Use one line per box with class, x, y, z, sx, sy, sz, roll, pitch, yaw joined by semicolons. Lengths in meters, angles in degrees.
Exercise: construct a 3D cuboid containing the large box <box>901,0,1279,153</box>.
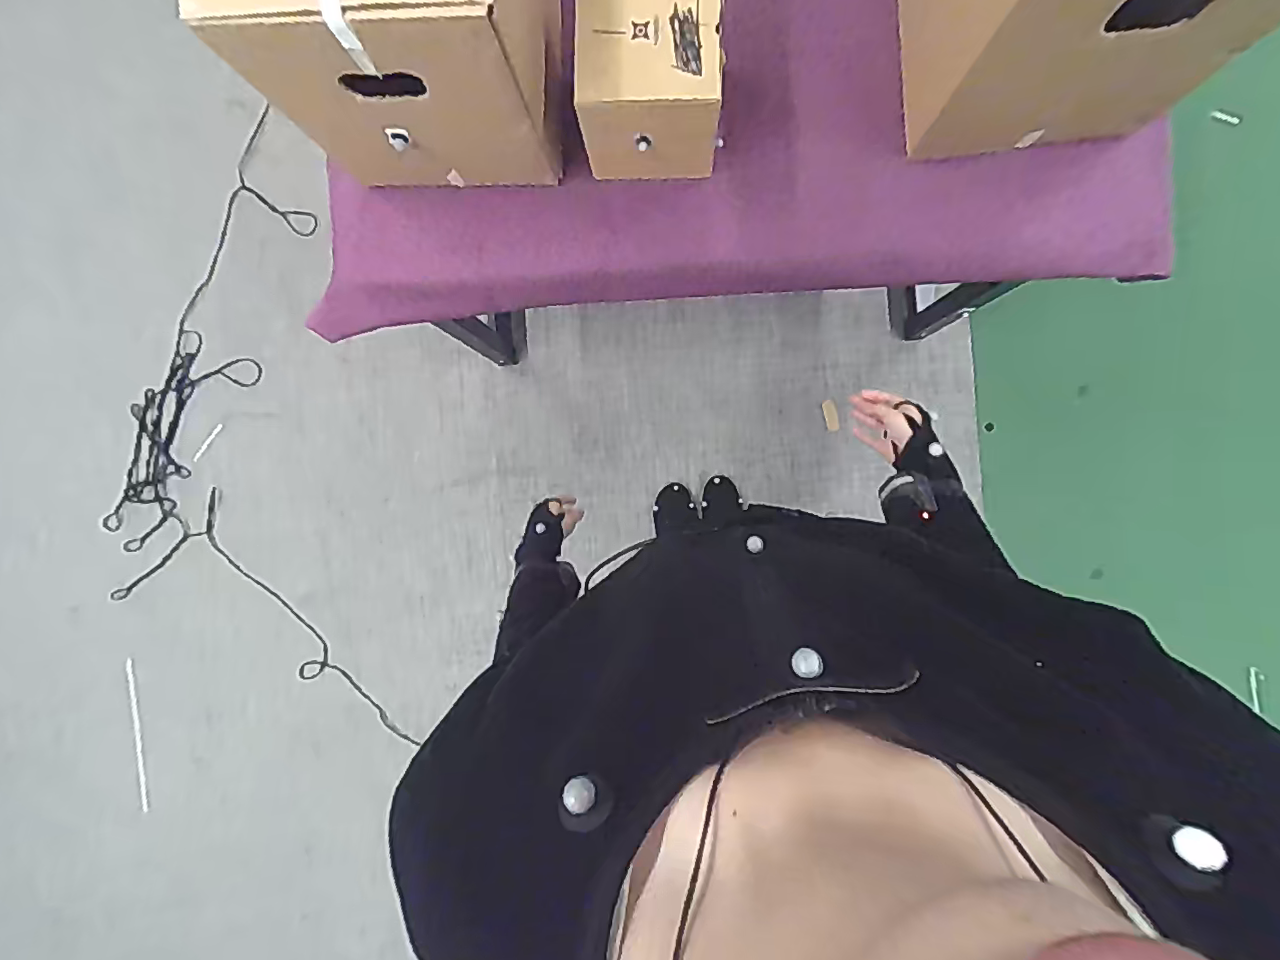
large box;0.509;-0.668;0.606;0.320;0.320;0.408;-4;91;6
